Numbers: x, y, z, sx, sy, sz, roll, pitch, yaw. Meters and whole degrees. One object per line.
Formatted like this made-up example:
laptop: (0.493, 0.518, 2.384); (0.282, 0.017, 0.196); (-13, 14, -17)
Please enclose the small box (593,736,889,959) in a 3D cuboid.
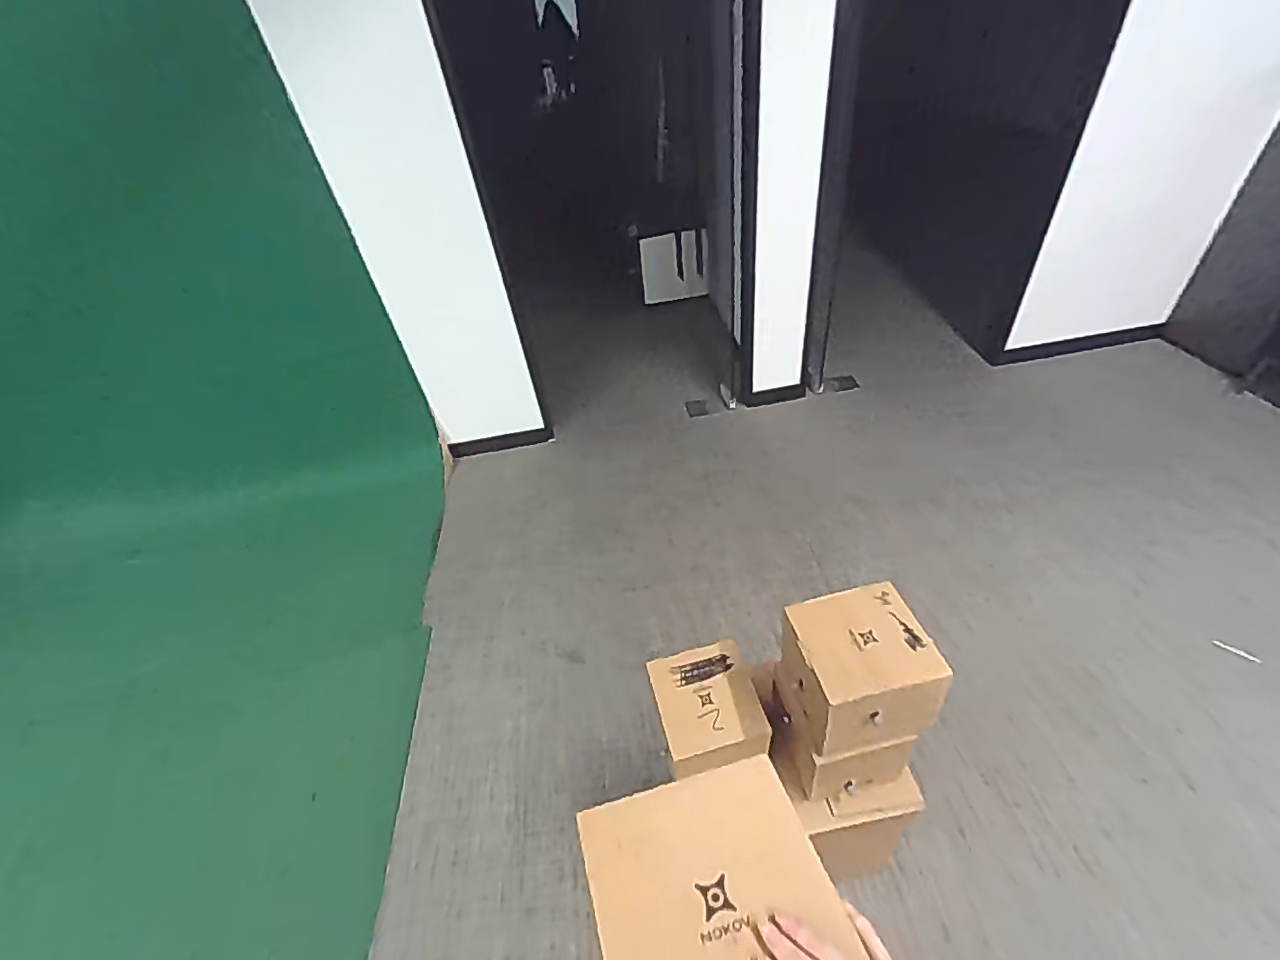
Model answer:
small box: (0.060, 0.346, 0.429); (0.168, 0.176, 0.179); (-10, 36, -14)
